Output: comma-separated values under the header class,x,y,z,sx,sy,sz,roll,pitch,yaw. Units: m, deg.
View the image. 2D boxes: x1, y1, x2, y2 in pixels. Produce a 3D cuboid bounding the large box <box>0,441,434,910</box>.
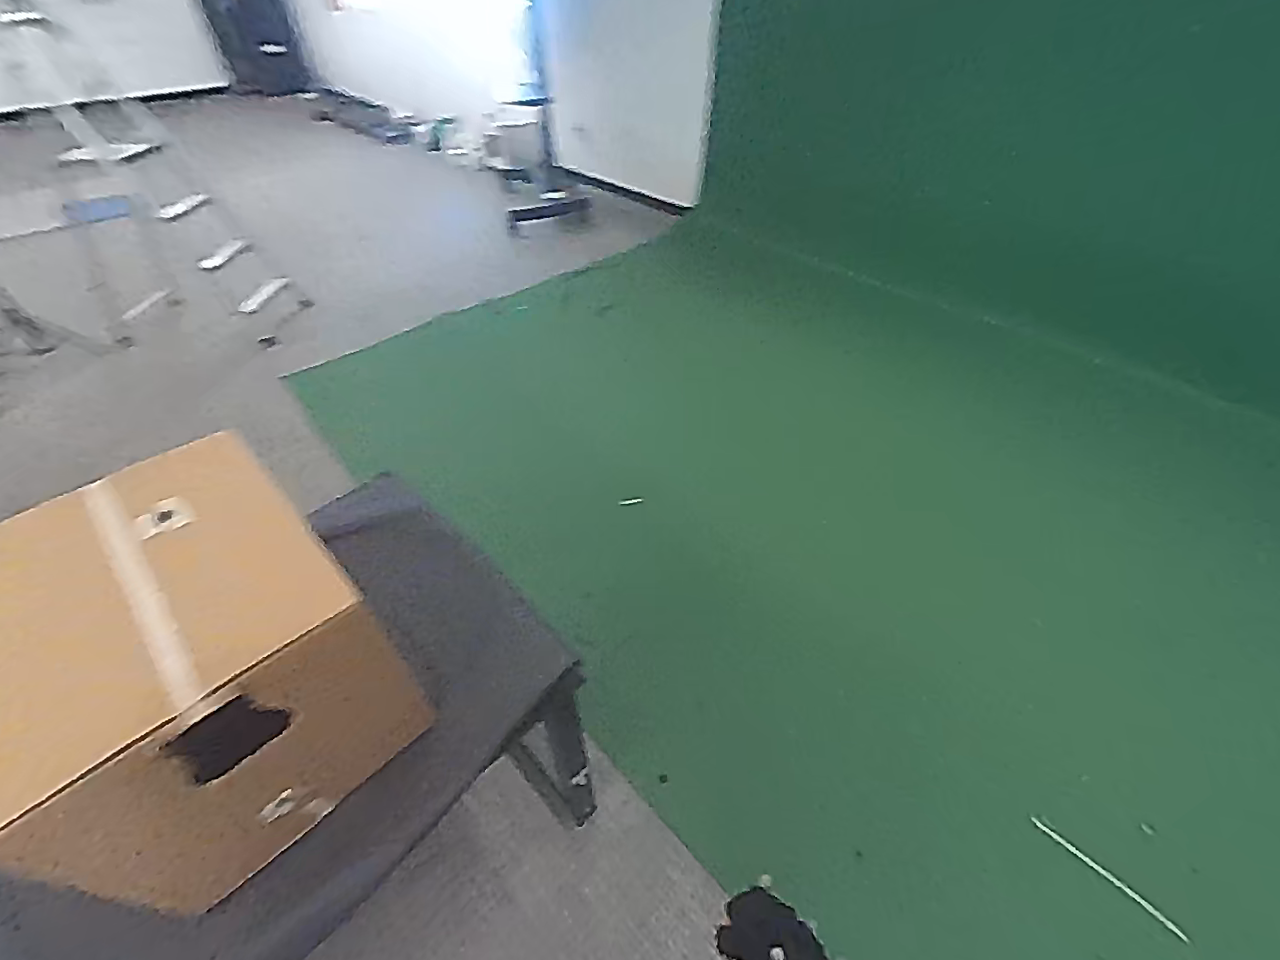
class,x,y,z,sx,sy,sz,roll,pitch,yaw
large box,-0.536,0.220,0.683,0.408,0.320,0.320,33,53,31
